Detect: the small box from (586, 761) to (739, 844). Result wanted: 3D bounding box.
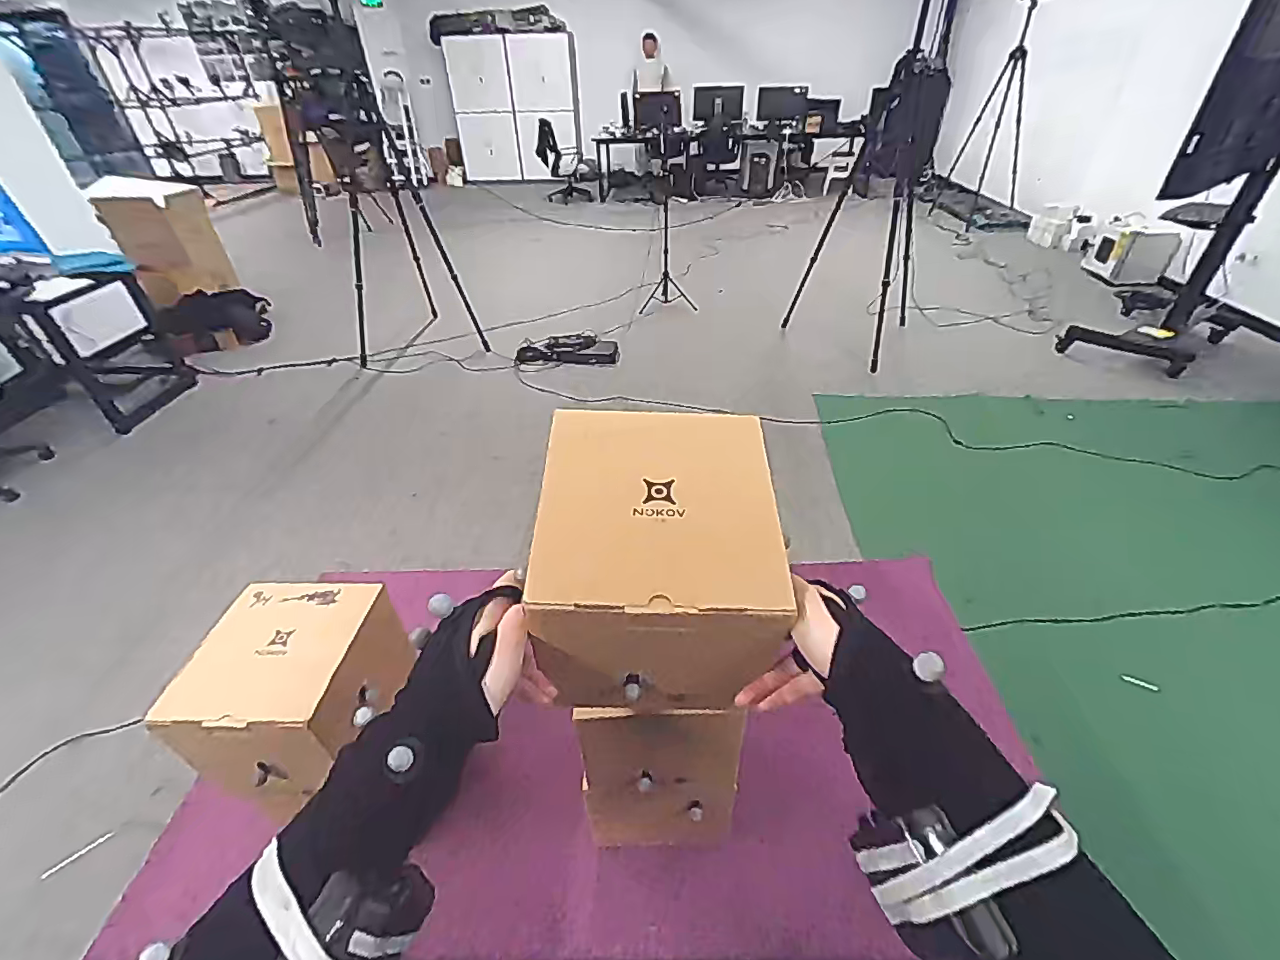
[{"bbox_3d":[0.028,0.362,0.721,0.179,0.176,0.168,-2,37,1],"label":"small box"}]

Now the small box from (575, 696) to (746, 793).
[{"bbox_3d":[0.021,0.231,0.623,0.168,0.176,0.179,-3,38,1],"label":"small box"}]

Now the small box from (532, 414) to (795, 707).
[{"bbox_3d":[0.012,0.067,0.444,0.168,0.176,0.179,1,49,-2],"label":"small box"}]

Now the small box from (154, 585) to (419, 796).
[{"bbox_3d":[-0.381,0.243,0.629,0.168,0.176,0.179,1,39,3],"label":"small box"}]
